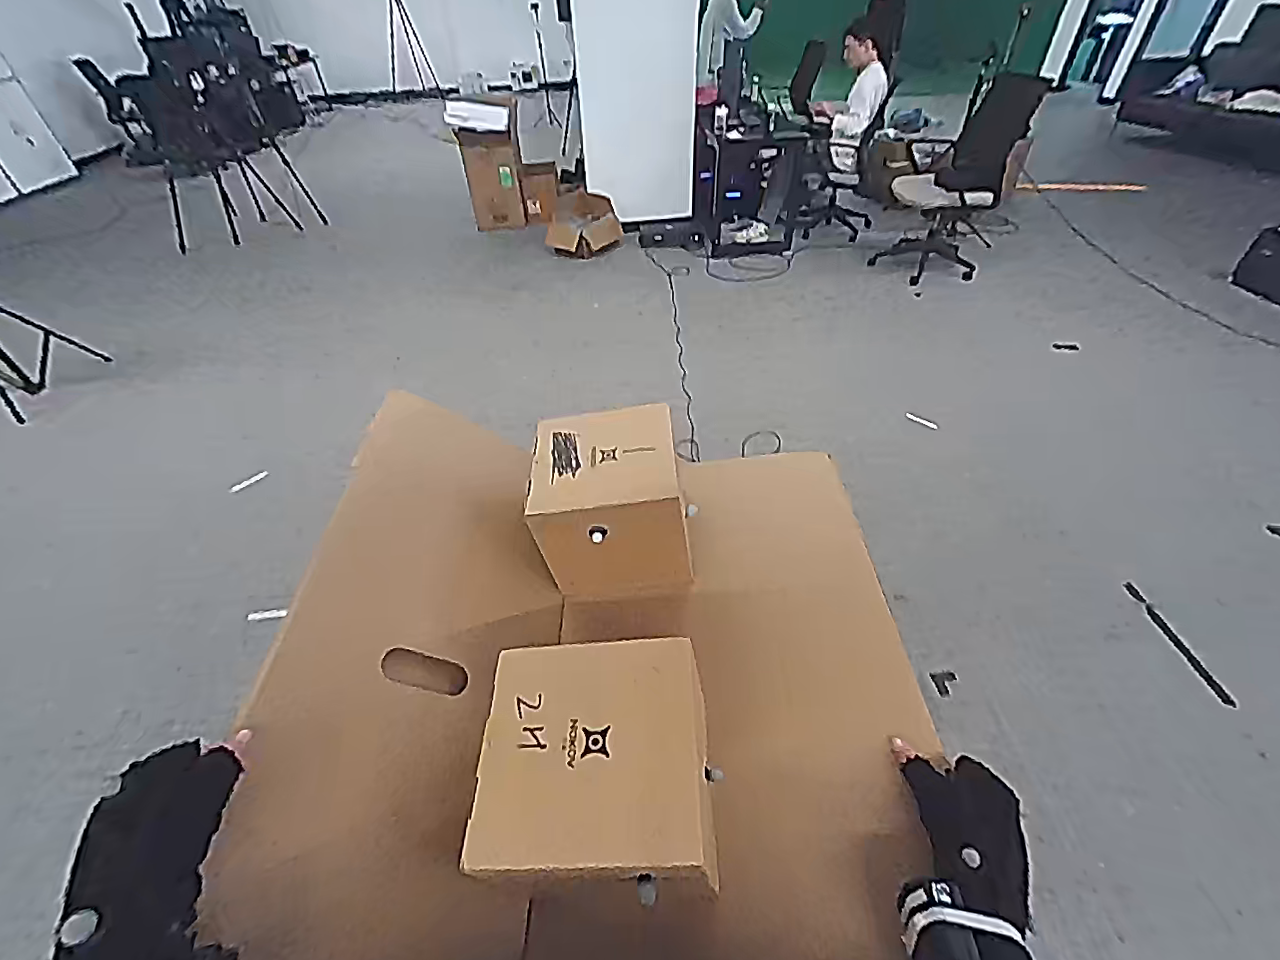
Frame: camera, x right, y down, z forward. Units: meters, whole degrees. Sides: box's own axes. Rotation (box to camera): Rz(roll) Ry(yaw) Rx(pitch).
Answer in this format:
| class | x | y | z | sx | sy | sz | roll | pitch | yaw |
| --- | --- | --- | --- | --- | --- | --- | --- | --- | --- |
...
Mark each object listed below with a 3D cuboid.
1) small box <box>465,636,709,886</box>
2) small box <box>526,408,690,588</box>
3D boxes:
| class | x | y | z | sx | sy | sz | roll | pitch | yaw |
| --- | --- | --- | --- | --- | --- | --- | --- | --- | --- |
| small box | -0.030 | 0.261 | 0.499 | 0.179 | 0.176 | 0.168 | -6 | 46 | 8 |
| small box | -0.034 | 0.029 | 0.720 | 0.179 | 0.176 | 0.168 | -7 | 46 | 5 |
